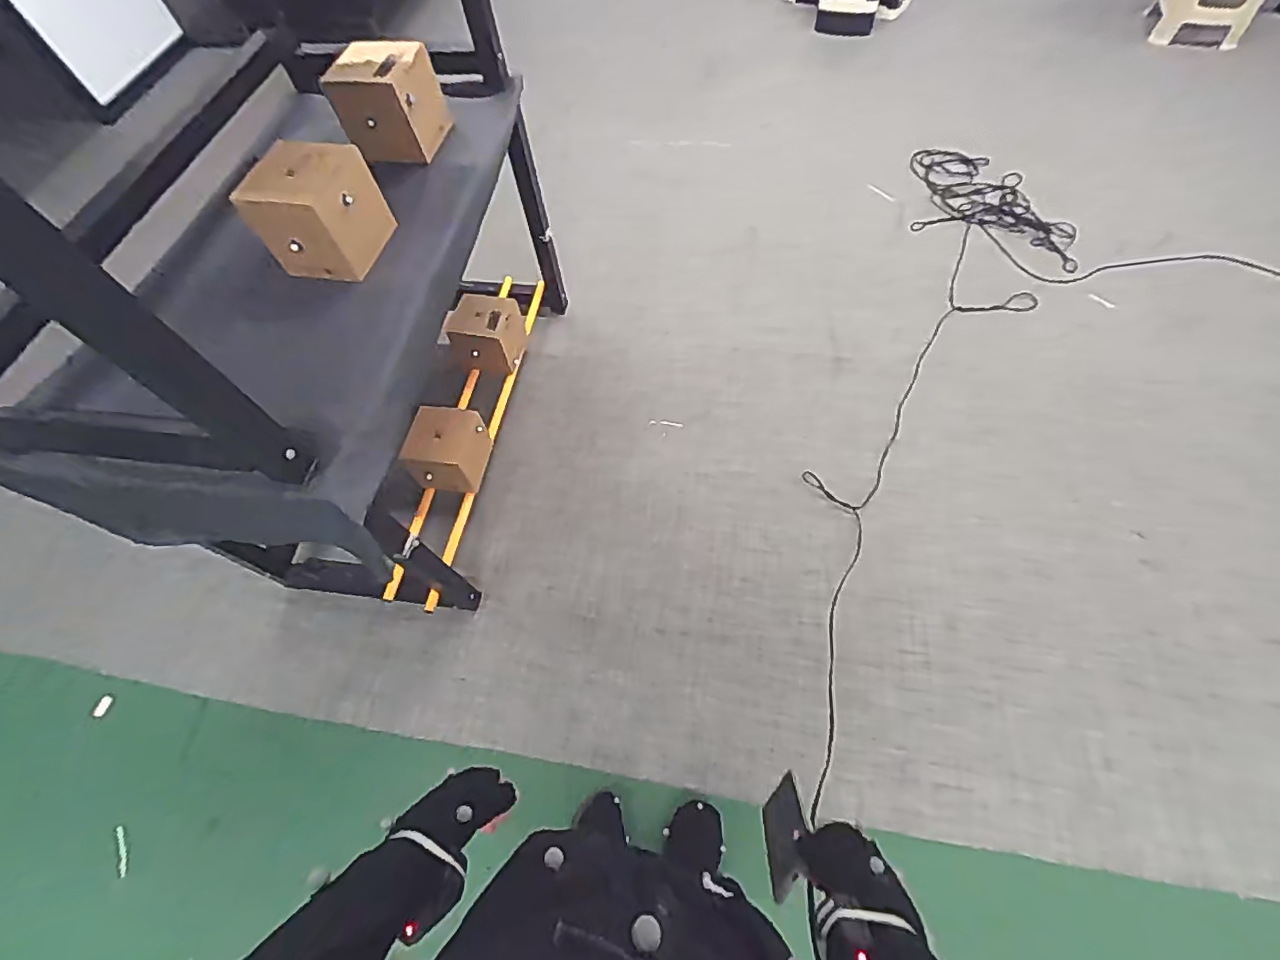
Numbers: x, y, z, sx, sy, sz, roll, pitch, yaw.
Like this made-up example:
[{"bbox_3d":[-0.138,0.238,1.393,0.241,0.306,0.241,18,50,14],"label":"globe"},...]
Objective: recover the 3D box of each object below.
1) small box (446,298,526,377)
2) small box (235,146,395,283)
[{"bbox_3d":[-0.477,-0.446,1.709,0.179,0.176,0.168,9,62,9],"label":"small box"},{"bbox_3d":[-0.605,-0.504,1.037,0.168,0.176,0.179,9,62,9],"label":"small box"}]
